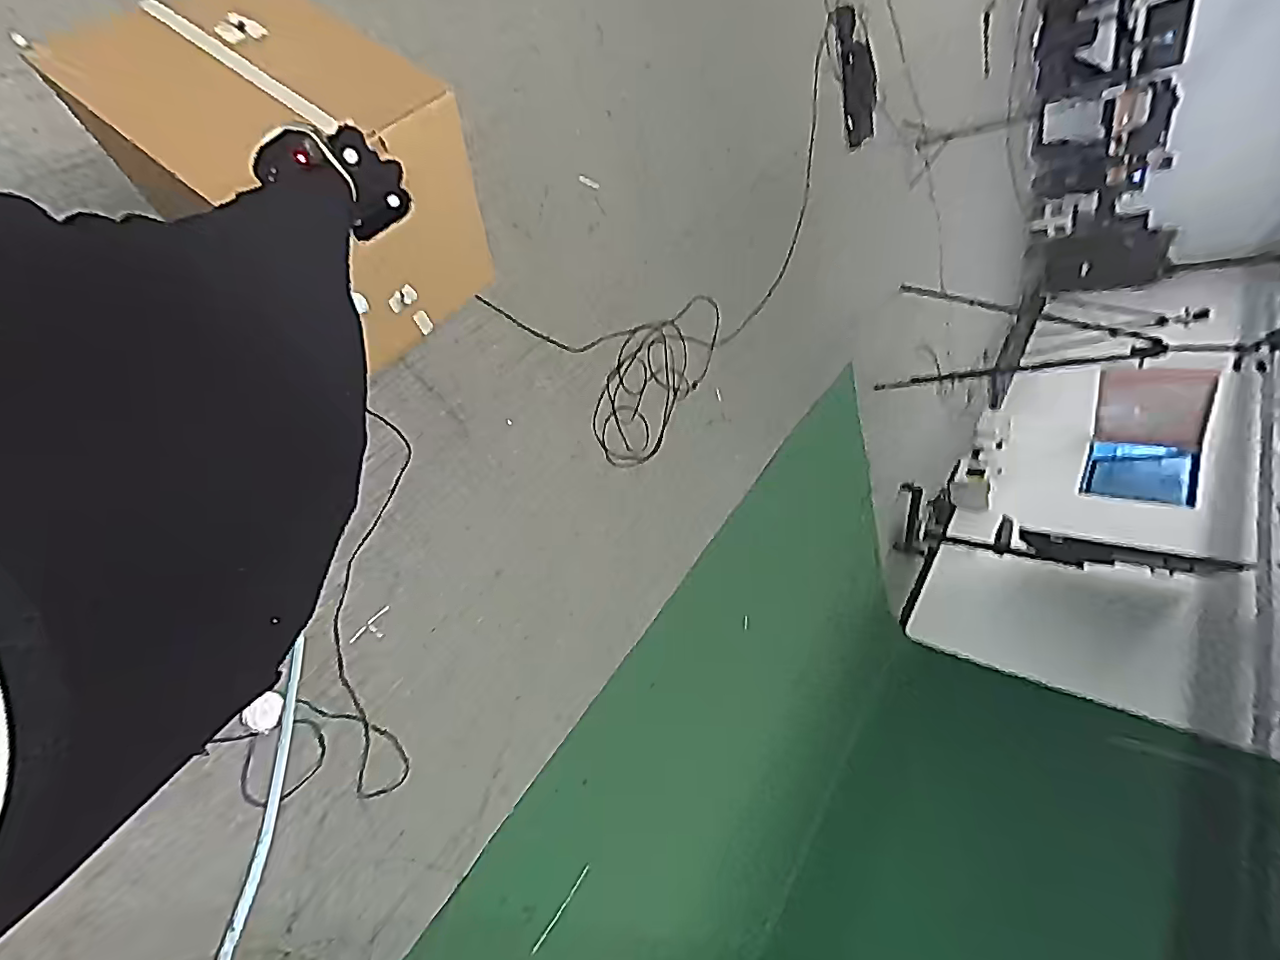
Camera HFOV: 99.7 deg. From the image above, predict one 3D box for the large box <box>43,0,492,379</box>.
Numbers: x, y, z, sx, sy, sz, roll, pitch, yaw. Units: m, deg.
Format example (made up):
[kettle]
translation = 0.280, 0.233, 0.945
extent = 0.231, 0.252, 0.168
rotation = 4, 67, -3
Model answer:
[large box]
translation = -0.496, -0.430, 0.812
extent = 0.320, 0.408, 0.320
rotation = -48, 166, -23
